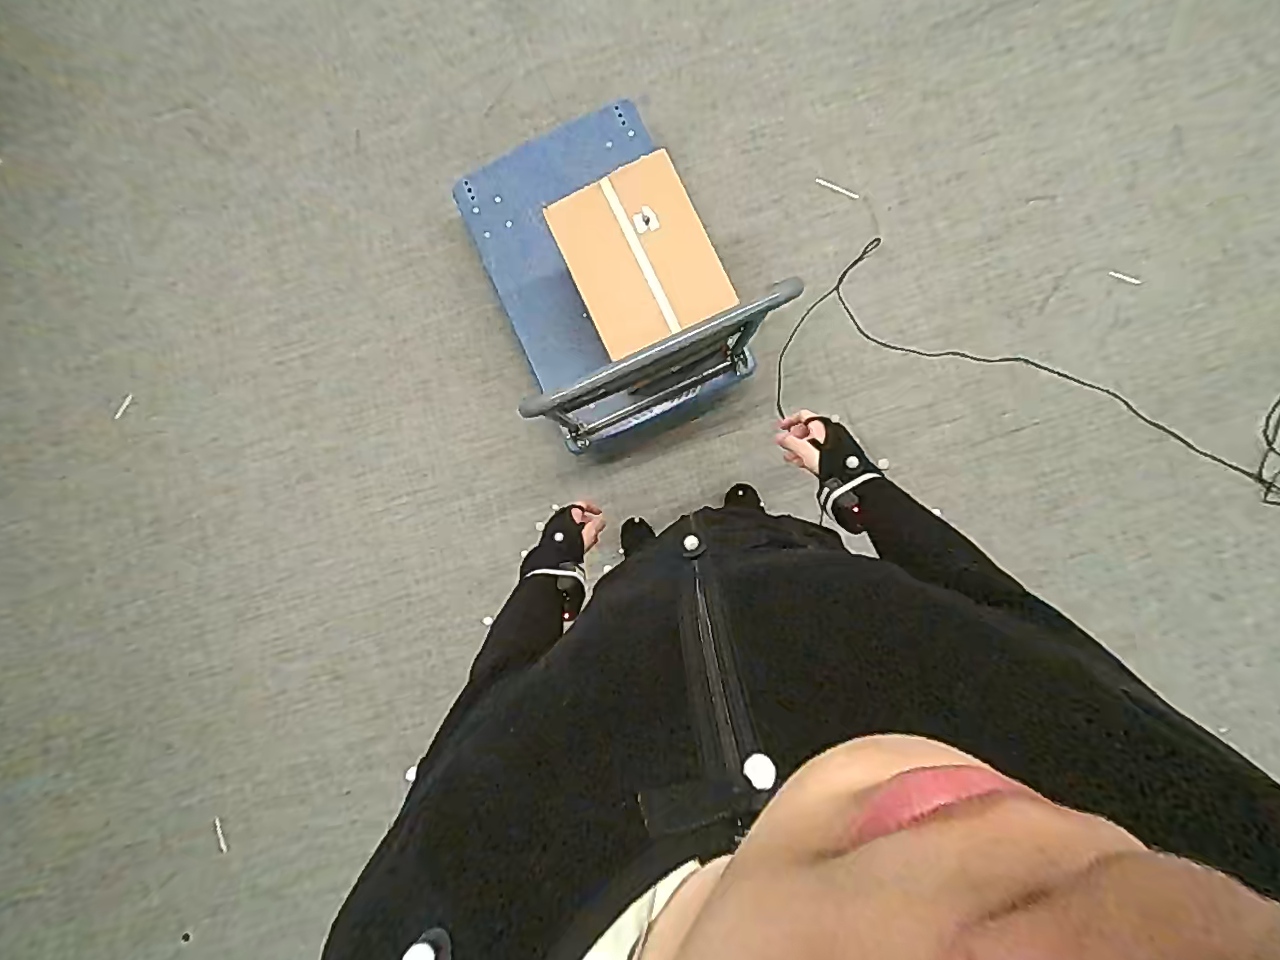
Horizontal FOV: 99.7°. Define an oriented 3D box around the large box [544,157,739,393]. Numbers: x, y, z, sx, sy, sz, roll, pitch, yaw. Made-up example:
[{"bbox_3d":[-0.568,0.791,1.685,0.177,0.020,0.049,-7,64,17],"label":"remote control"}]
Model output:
[{"bbox_3d":[0.012,-0.486,1.365,0.320,0.320,0.408,-25,86,2],"label":"large box"}]
